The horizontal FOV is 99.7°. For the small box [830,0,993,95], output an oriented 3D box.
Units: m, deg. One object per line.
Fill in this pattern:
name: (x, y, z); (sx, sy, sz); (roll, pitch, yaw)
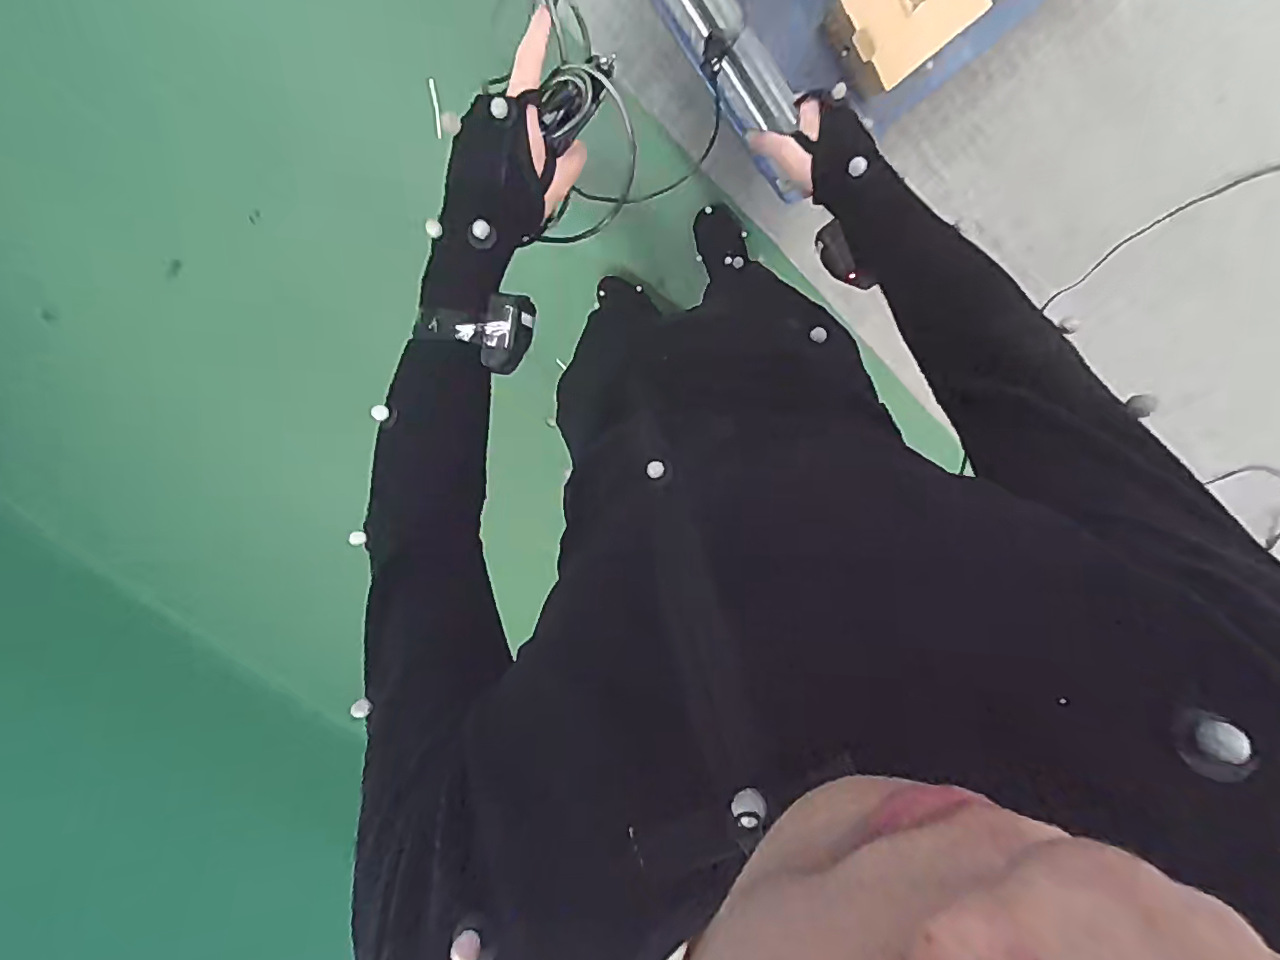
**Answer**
small box: (0.445, -0.795, 0.913); (0.179, 0.176, 0.168); (-32, 110, 27)
